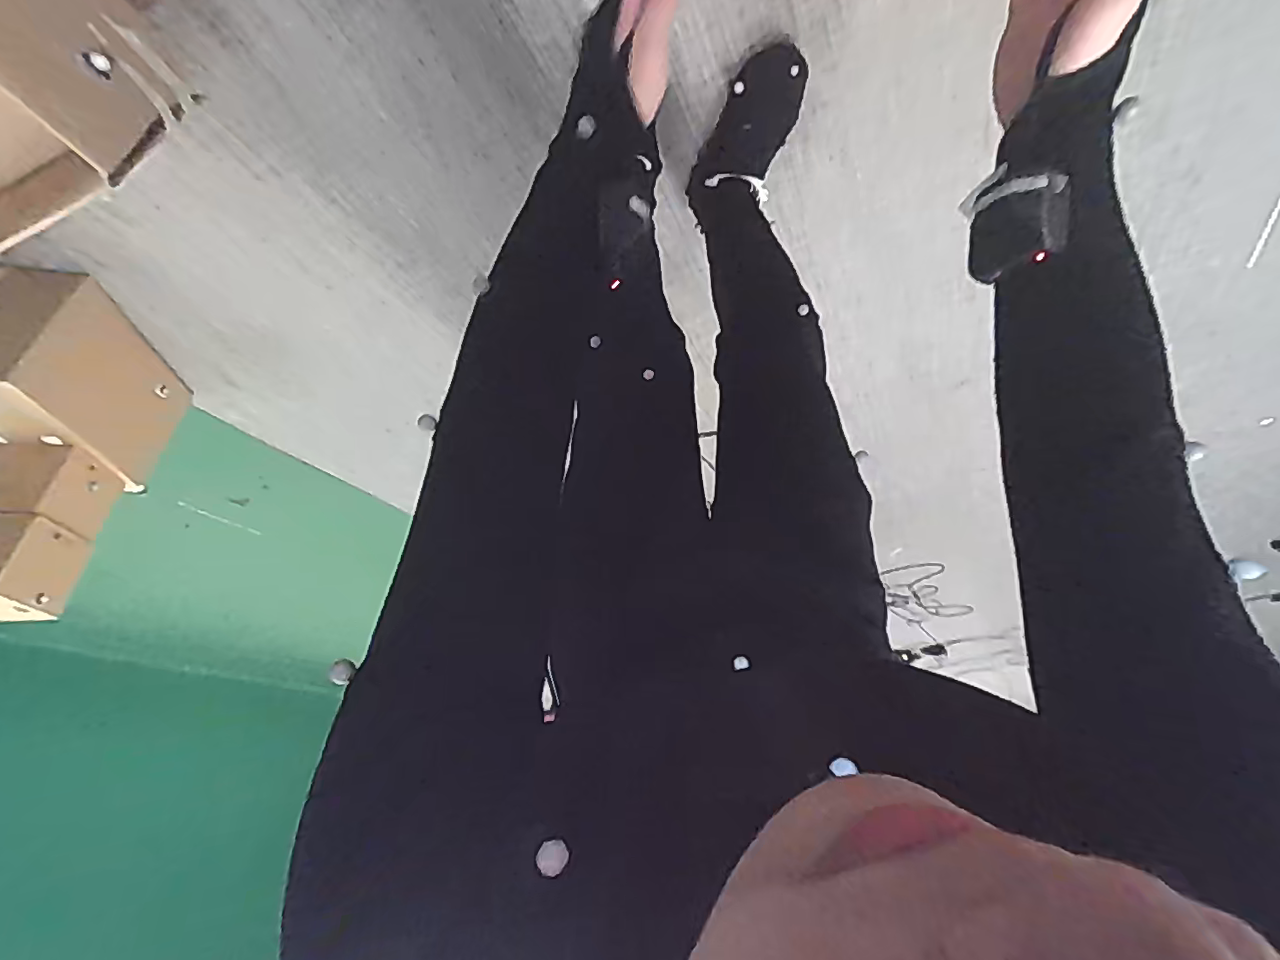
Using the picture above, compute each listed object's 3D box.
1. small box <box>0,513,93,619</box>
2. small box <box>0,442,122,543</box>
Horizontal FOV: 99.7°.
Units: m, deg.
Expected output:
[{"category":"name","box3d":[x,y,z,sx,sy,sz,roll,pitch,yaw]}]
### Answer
[{"category":"small box","box3d":[-1.286,0.171,1.089,0.179,0.176,0.168,2,148,-7]},{"category":"small box","box3d":[-1.302,0.031,1.173,0.179,0.176,0.168,2,149,-8]}]
